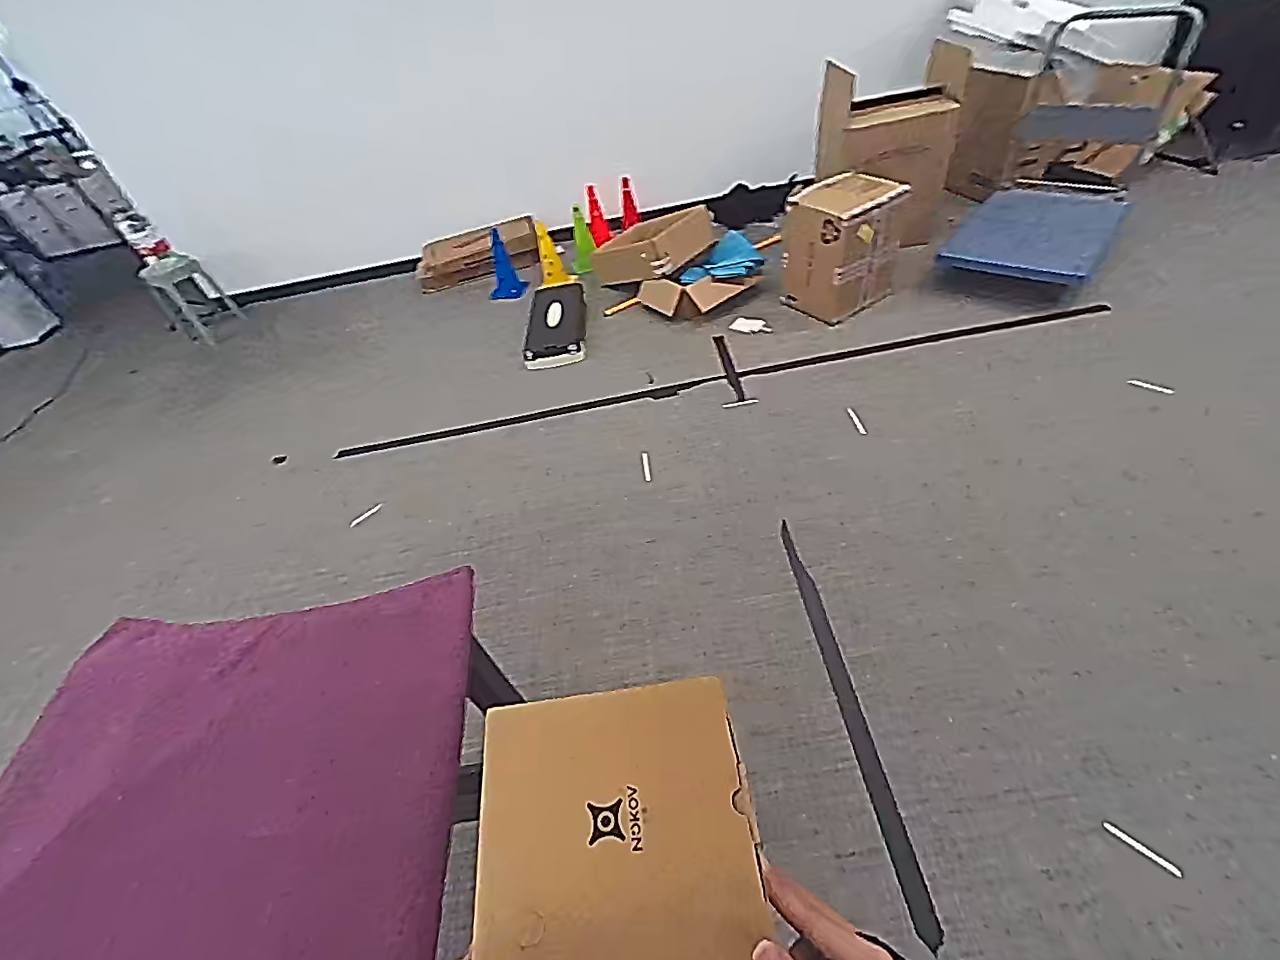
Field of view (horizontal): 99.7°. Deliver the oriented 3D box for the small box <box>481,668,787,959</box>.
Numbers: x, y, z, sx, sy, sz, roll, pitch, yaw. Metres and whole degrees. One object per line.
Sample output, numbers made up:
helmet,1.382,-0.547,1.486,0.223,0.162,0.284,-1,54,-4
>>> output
small box,-0.003,0.263,0.409,0.179,0.176,0.168,-8,50,0
